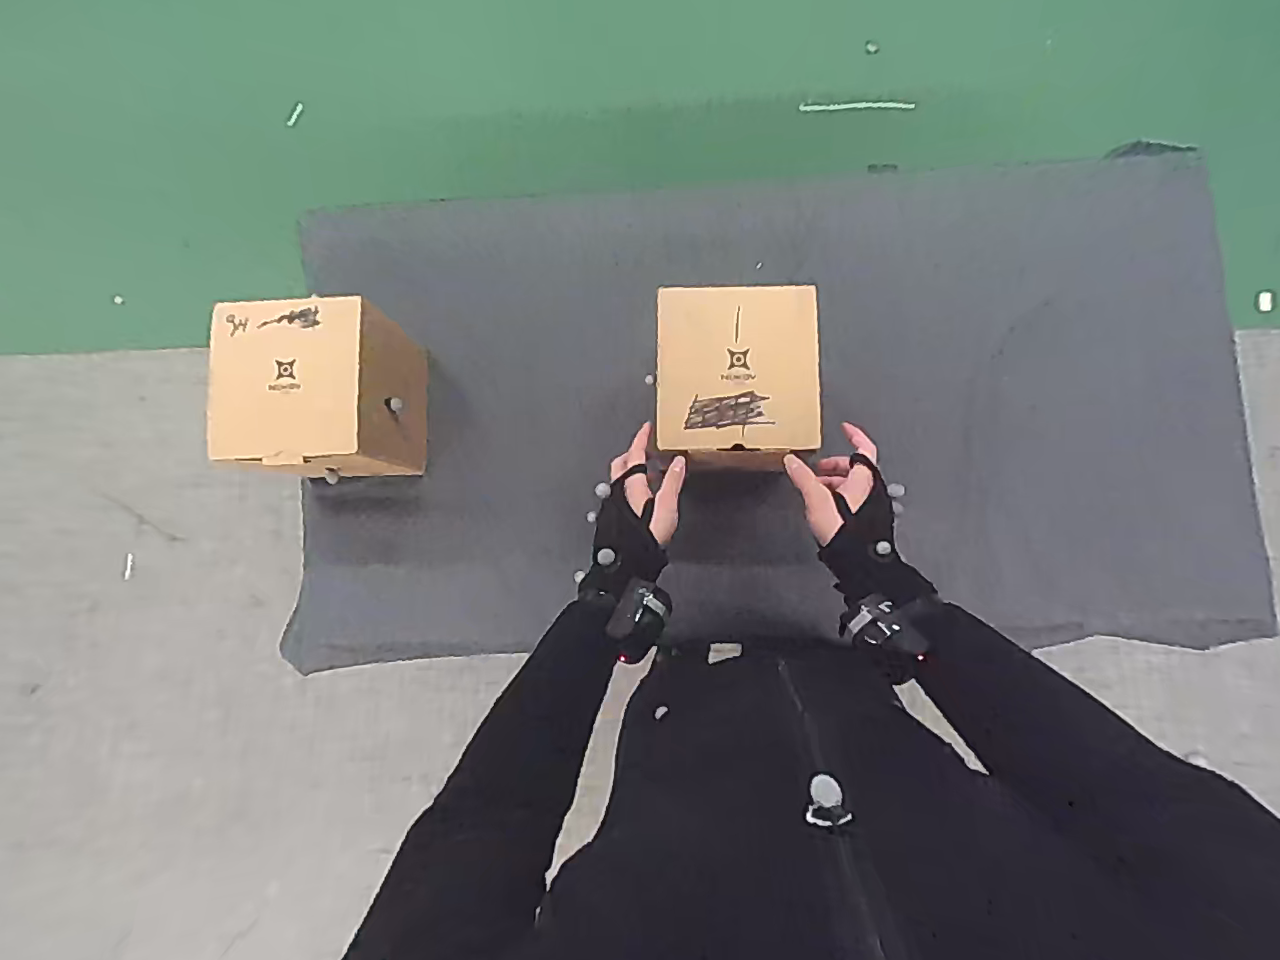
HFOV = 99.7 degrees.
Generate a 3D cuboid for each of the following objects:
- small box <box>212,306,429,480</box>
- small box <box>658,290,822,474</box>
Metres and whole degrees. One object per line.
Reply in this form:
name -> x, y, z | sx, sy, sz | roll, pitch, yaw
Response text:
small box -> -0.367, -0.091, 0.651 | 0.168, 0.176, 0.179 | -2, 85, 1
small box -> 0.106, -0.100, 0.628 | 0.168, 0.176, 0.179 | 0, 84, 3
